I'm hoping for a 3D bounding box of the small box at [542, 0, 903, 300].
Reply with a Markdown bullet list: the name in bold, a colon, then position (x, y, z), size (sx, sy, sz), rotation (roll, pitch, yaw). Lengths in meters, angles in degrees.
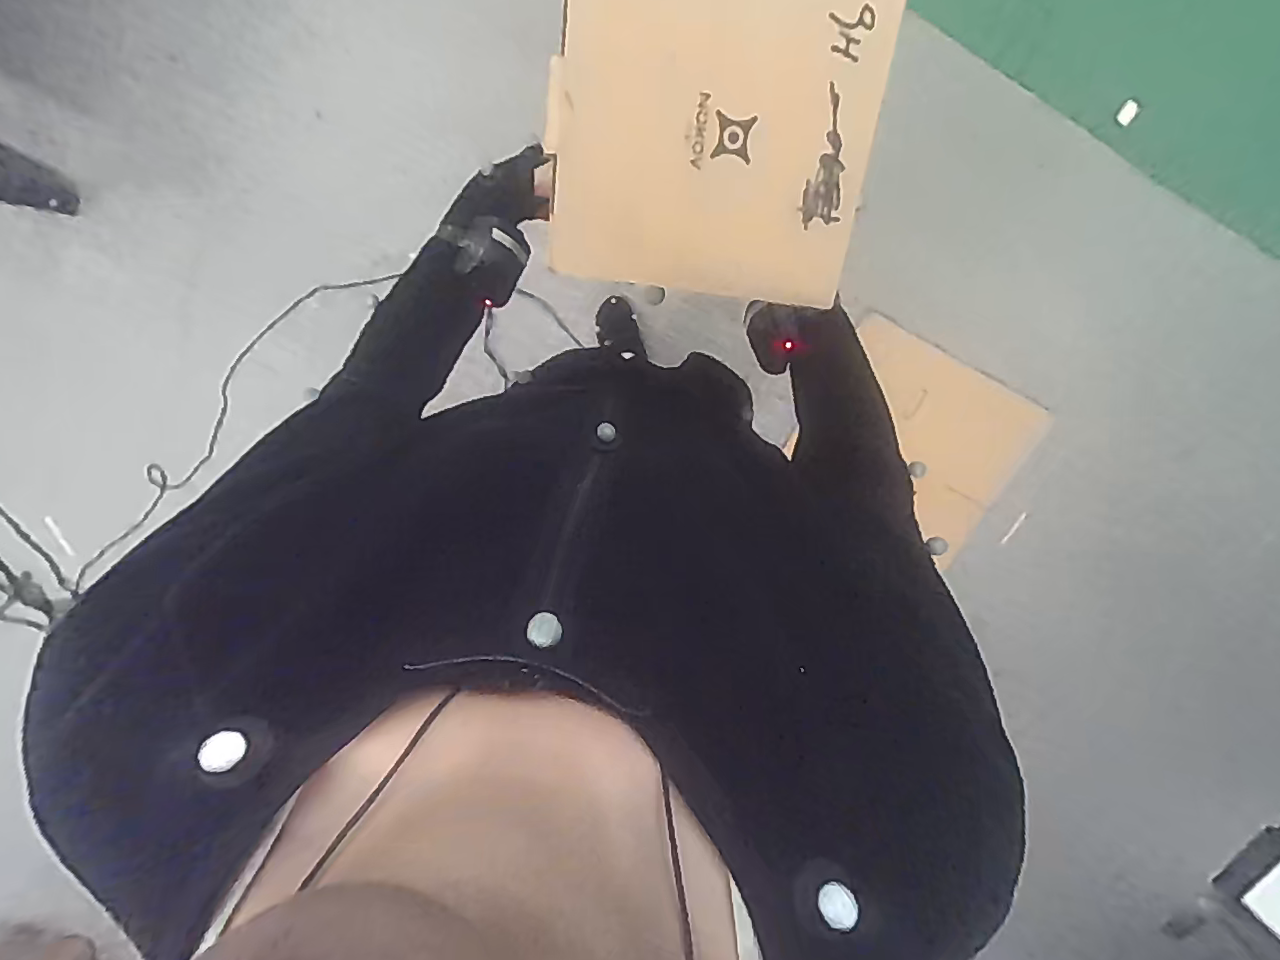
- **small box**: position (0.035, -0.219, 0.364), size (0.179, 0.176, 0.168), rotation (5, 111, -6)
